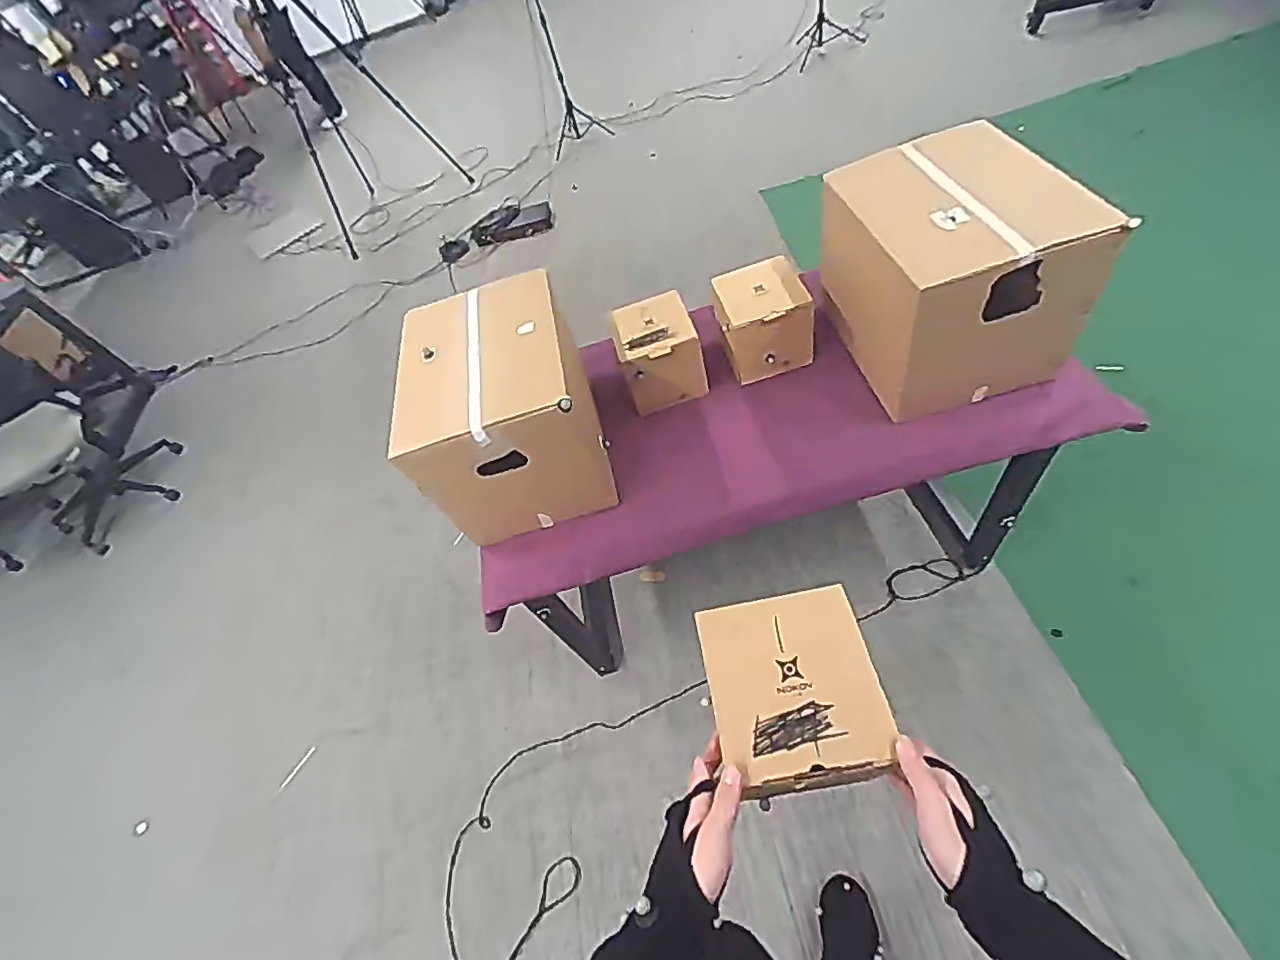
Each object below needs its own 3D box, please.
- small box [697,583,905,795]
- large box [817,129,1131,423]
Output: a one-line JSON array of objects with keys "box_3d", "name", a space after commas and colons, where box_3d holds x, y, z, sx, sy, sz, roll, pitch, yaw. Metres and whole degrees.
[{"box_3d": [0.166, 0.242, 0.606, 0.168, 0.176, 0.179, -12, 53, 3], "name": "small box"}, {"box_3d": [0.563, -0.383, 1.029, 0.320, 0.320, 0.408, -17, 53, 5], "name": "large box"}]
